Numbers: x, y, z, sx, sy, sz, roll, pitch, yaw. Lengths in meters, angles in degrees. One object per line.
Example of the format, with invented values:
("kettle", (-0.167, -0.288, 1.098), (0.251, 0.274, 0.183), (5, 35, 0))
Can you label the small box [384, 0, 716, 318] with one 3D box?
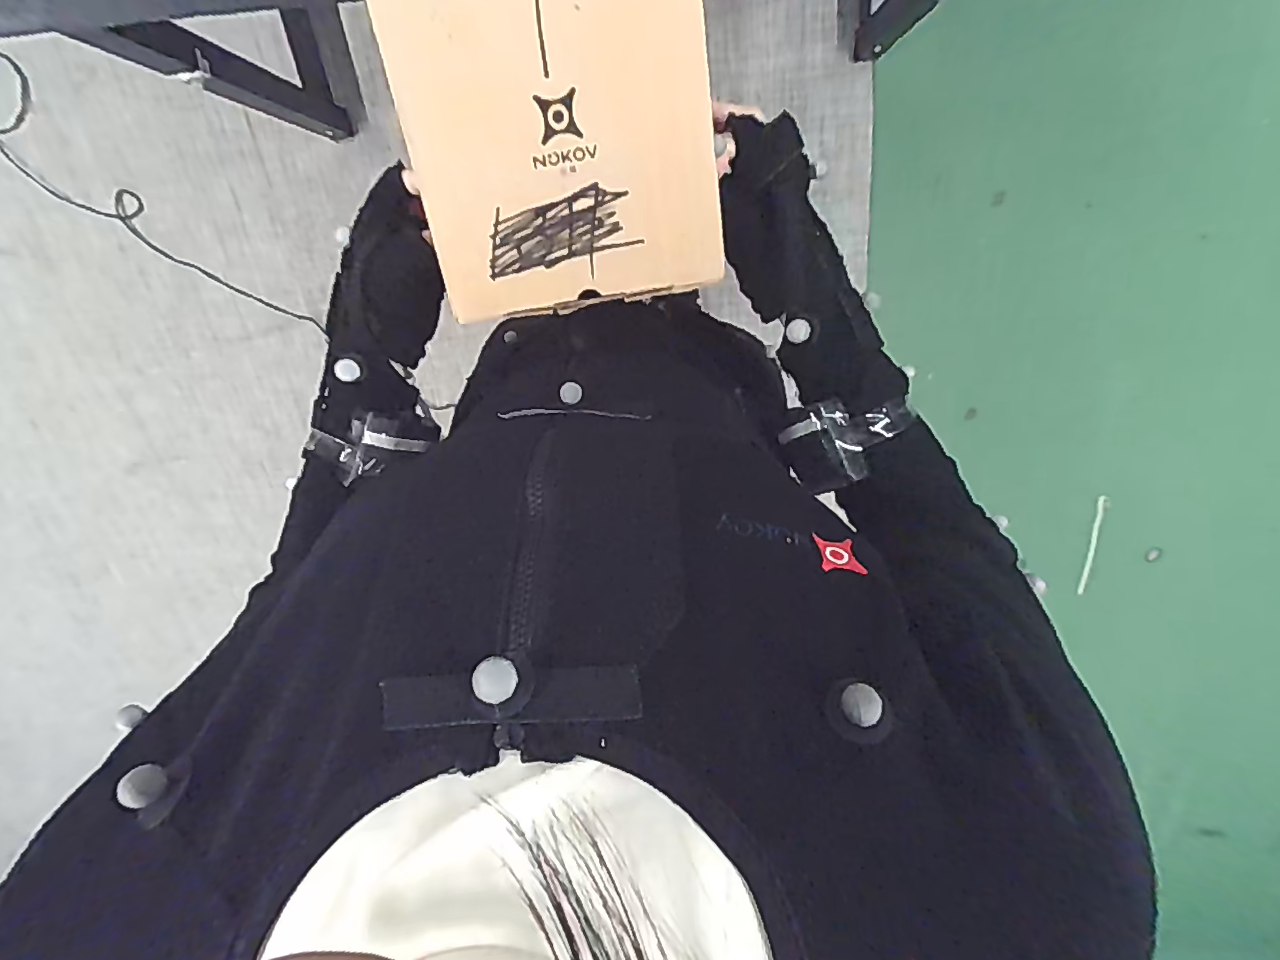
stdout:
("small box", (-0.042, -0.220, 0.373), (0.168, 0.176, 0.179), (-7, 113, 2))
